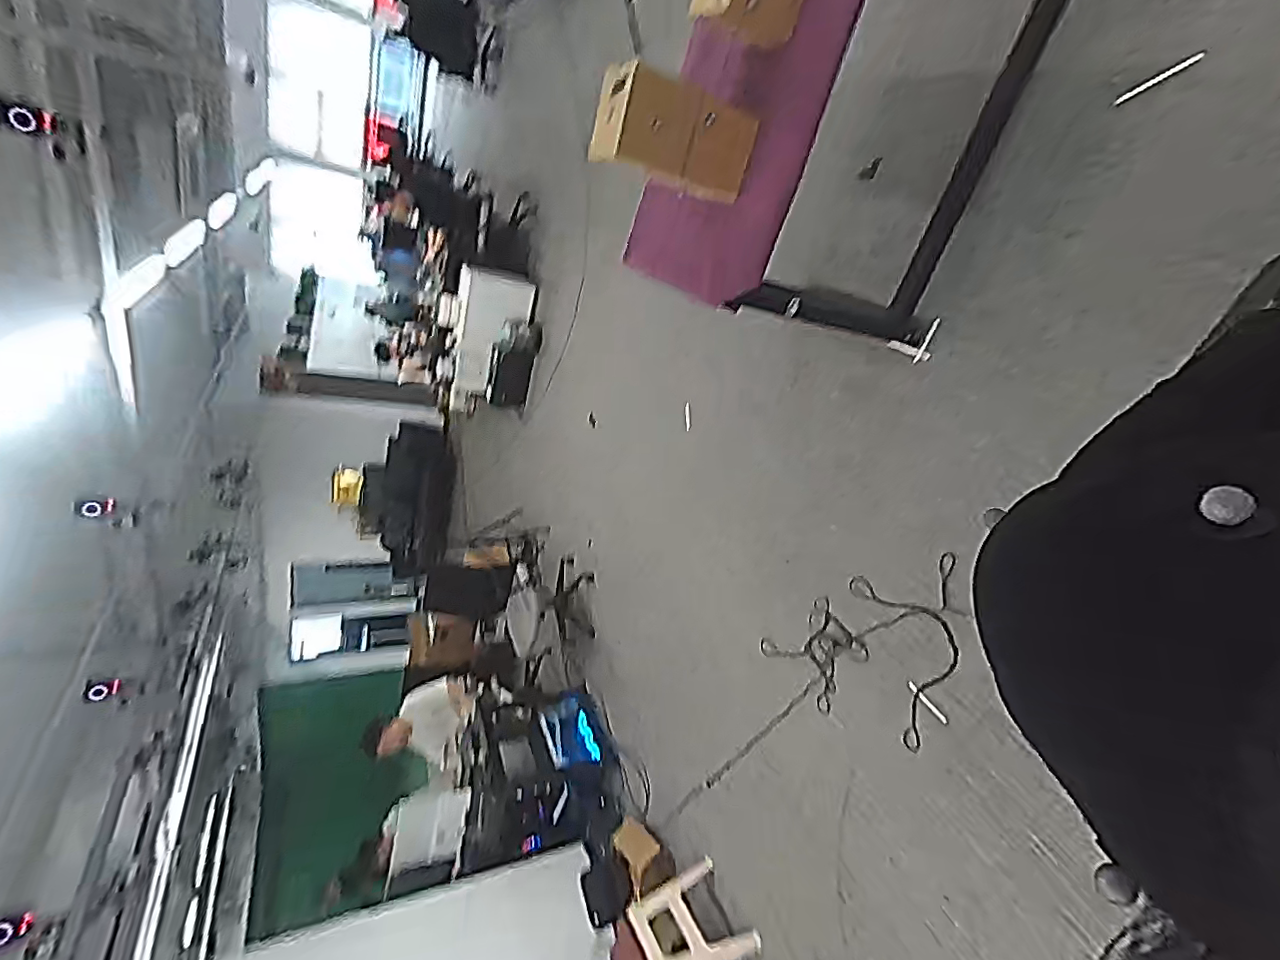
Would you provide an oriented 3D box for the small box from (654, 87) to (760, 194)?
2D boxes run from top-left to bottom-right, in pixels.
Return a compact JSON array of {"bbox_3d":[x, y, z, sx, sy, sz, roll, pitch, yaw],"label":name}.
[{"bbox_3d":[0.157,-0.798,1.286,0.168,0.176,0.179,48,128,50],"label":"small box"}]

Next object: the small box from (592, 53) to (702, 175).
[{"bbox_3d":[0.017,-0.803,1.200,0.168,0.176,0.179,49,129,51],"label":"small box"}]
